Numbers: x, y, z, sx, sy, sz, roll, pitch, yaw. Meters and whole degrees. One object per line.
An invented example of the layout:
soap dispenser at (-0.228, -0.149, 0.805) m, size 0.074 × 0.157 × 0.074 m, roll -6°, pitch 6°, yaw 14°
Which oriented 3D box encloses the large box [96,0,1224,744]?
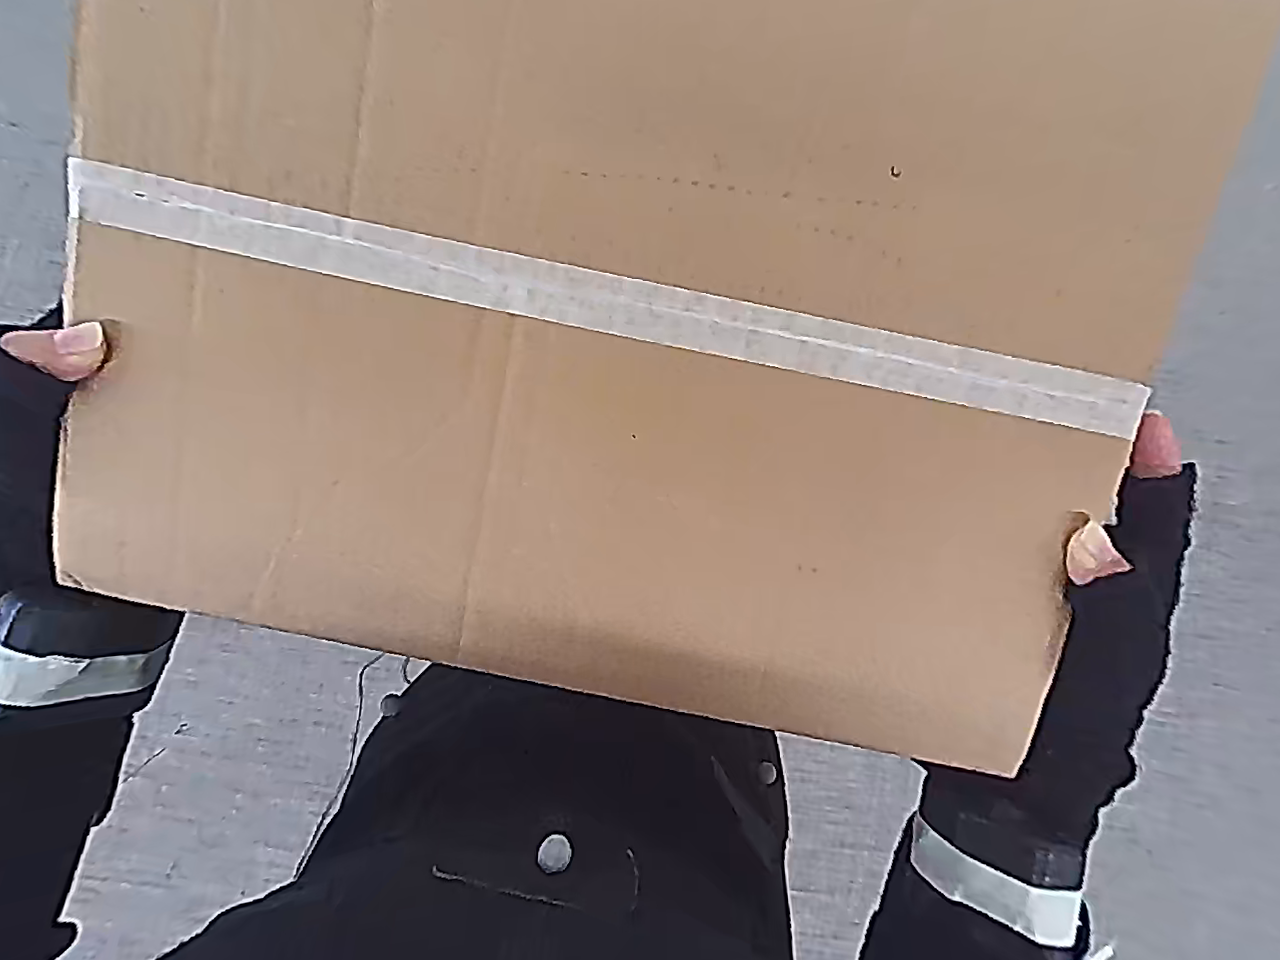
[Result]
large box at (-0.007, -0.087, 0.362) m, size 0.408 × 0.320 × 0.320 m, roll 12°, pitch 98°, yaw -1°
